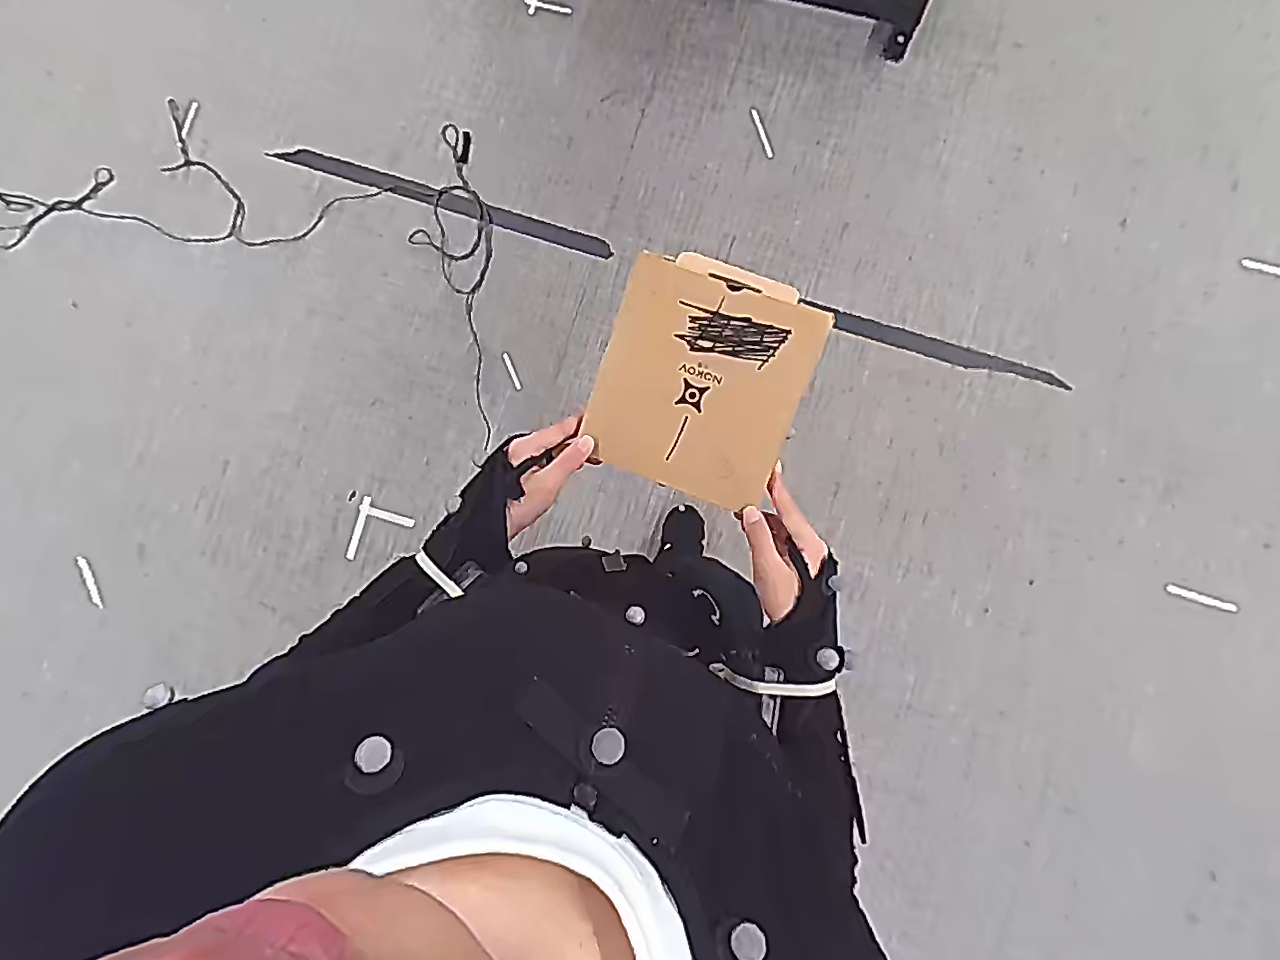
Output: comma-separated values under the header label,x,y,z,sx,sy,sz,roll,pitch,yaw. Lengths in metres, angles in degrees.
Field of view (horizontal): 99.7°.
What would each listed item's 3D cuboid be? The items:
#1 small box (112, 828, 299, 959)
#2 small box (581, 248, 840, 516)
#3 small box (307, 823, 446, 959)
label,x,y,z,sx,sy,sz,roll,pitch,yaw
small box,-0.756,0.763,0.957,0.179,0.176,0.168,21,88,6
small box,0.063,-0.086,0.518,0.168,0.176,0.179,21,98,6
small box,-0.522,0.851,1.098,0.168,0.176,0.179,20,88,5
